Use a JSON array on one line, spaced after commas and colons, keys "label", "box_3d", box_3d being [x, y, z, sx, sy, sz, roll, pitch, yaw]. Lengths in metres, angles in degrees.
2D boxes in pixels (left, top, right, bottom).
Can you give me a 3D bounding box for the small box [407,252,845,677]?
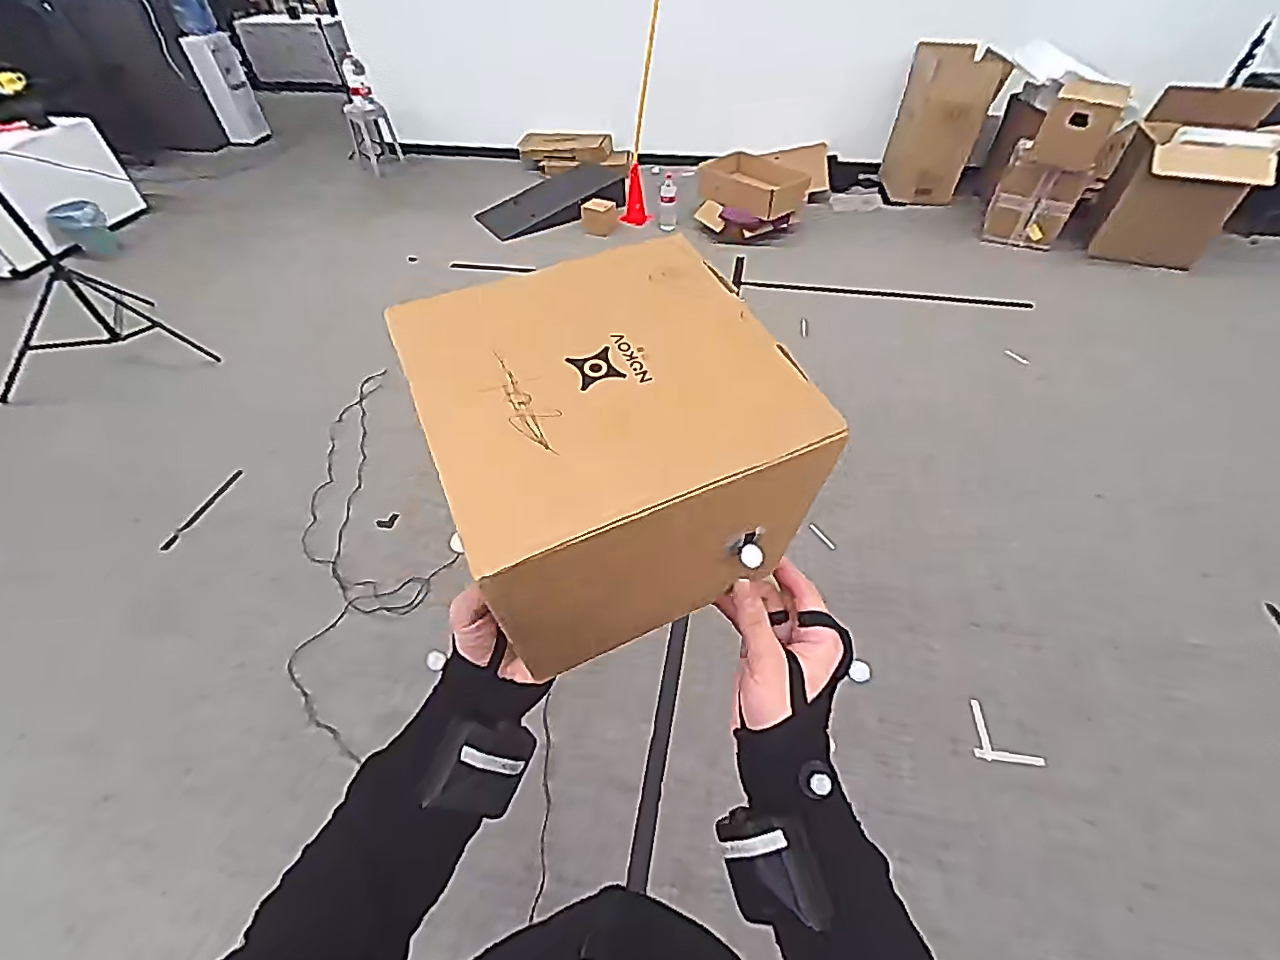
[{"label": "small box", "box_3d": [-0.015, -0.004, 0.339, 0.179, 0.176, 0.168, -23, 59, -15]}]
